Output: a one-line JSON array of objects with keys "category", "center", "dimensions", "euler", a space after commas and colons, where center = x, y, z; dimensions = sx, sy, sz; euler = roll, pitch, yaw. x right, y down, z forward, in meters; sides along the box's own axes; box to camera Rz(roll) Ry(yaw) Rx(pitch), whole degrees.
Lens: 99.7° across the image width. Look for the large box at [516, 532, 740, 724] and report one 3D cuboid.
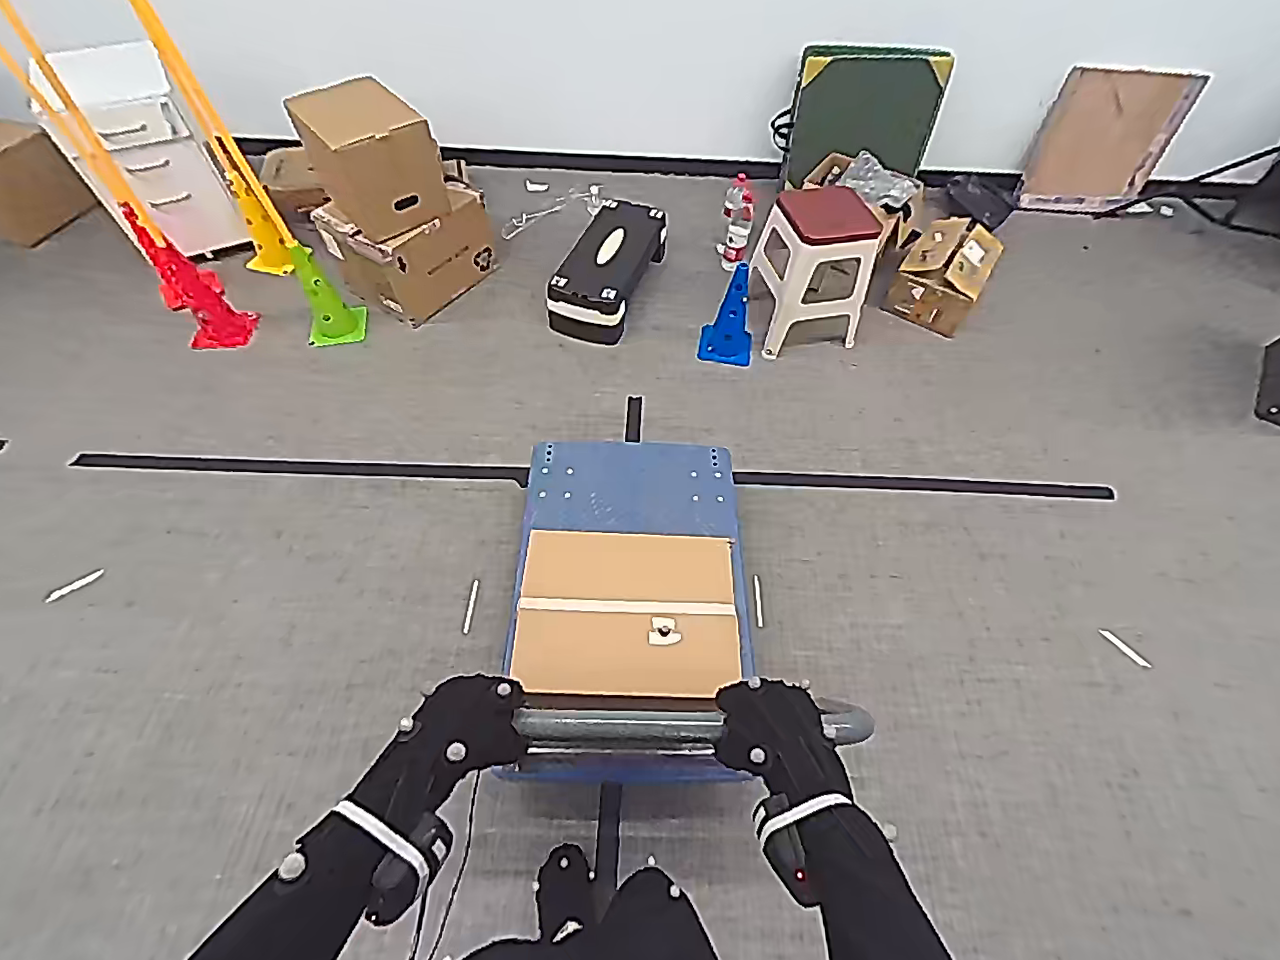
[{"category": "large box", "center": [-0.030, 0.324, 1.149], "dimensions": [0.408, 0.320, 0.320], "euler": [3, 56, -3]}]
